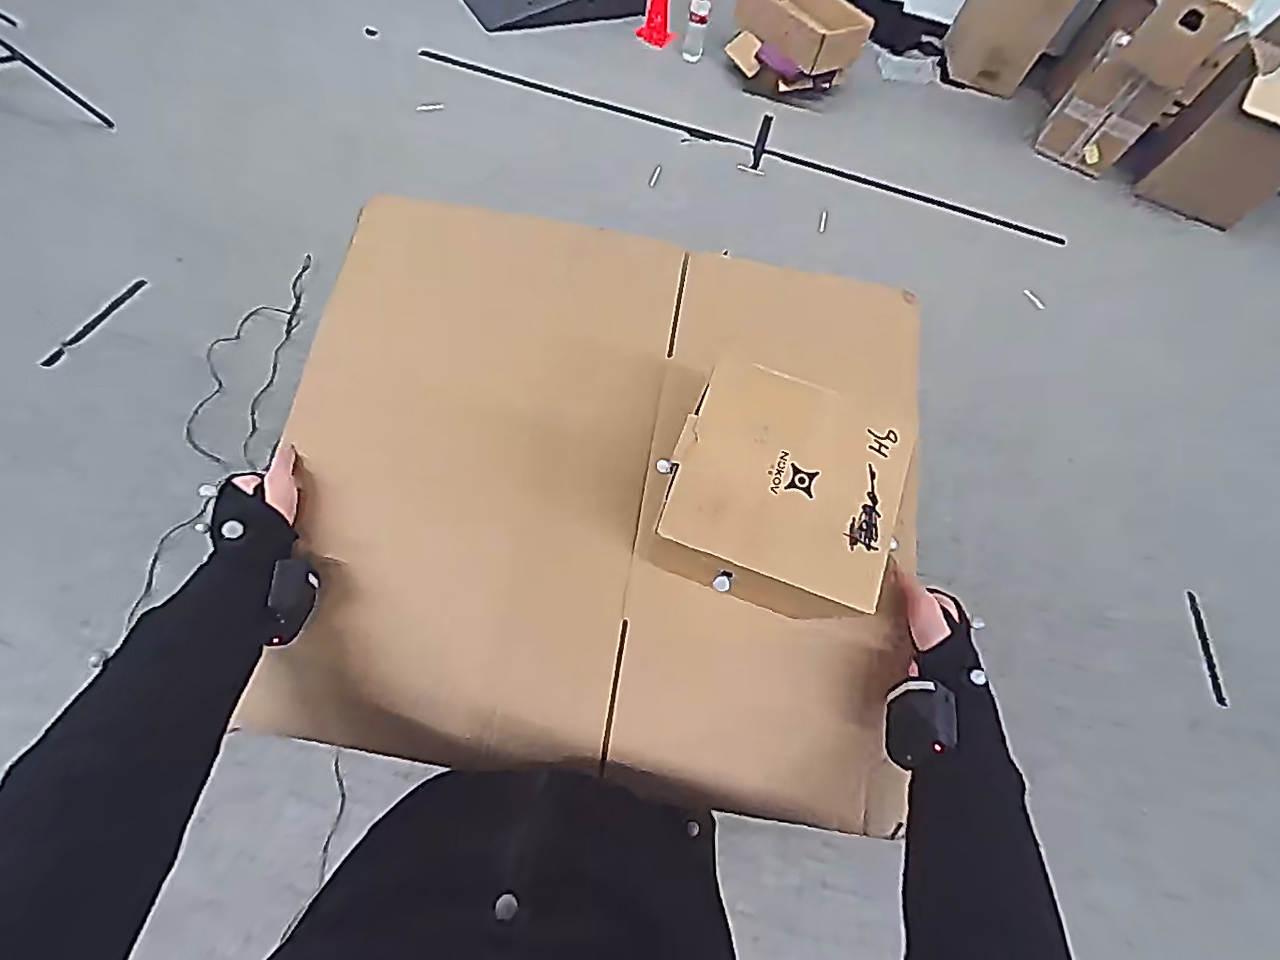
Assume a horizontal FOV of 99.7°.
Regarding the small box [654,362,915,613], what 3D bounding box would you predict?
[{"bbox_3d":[0.119,0.021,0.511,0.179,0.176,0.168,20,74,3],"label":"small box"}]
